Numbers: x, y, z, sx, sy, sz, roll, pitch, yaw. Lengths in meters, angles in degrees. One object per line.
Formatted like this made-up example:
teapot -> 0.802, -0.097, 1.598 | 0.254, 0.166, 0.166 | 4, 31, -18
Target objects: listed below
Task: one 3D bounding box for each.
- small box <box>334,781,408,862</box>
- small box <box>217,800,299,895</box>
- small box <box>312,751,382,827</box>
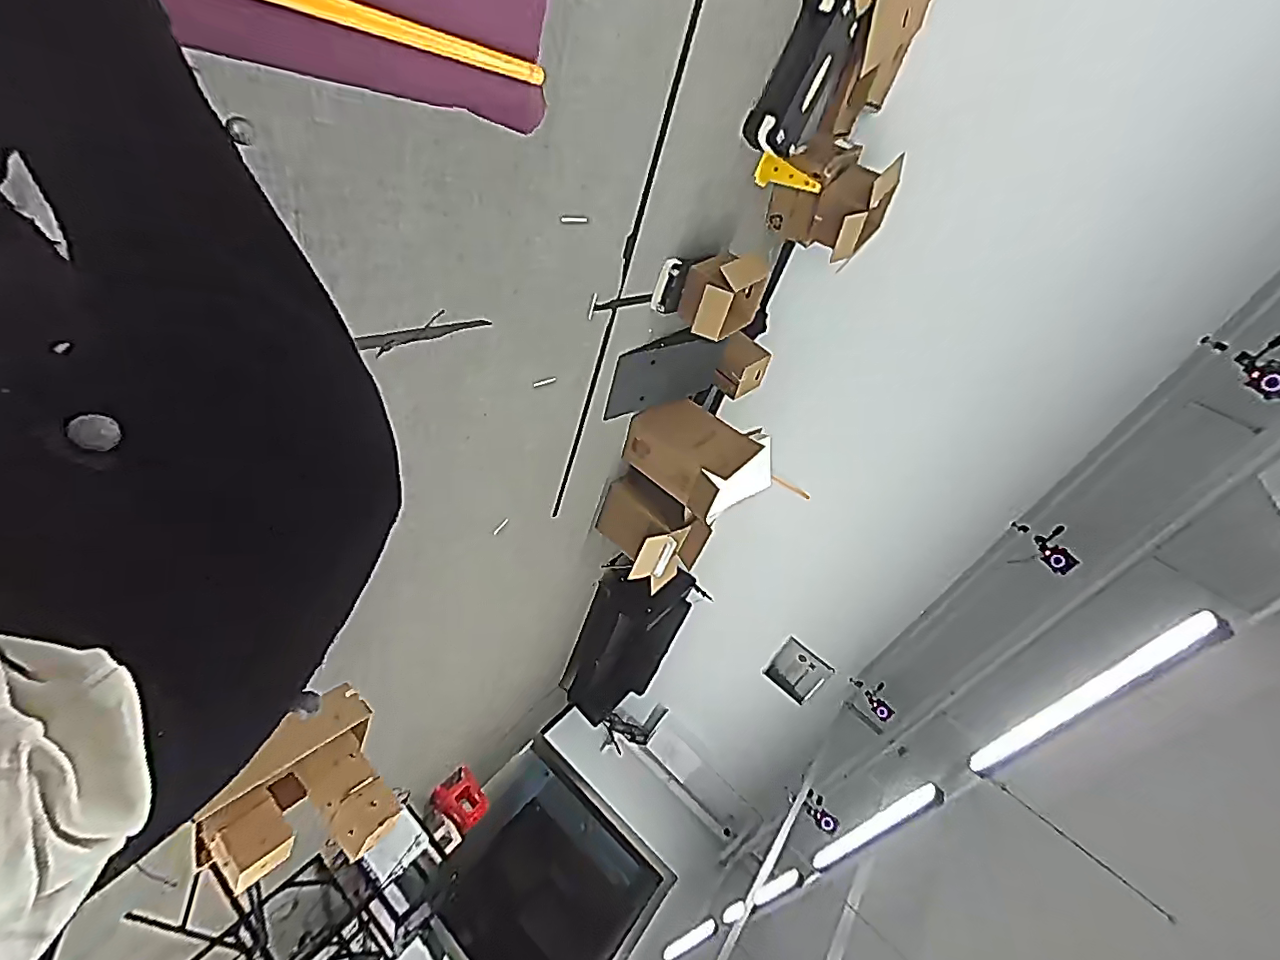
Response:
small box -> -1.037, 1.300, 2.076 | 0.179, 0.176, 0.168 | -59, 159, 19
small box -> -1.326, 1.266, 1.870 | 0.179, 0.176, 0.168 | -22, 146, -56
small box -> -1.161, 1.208, 2.134 | 0.168, 0.176, 0.179 | -15, 140, -60
